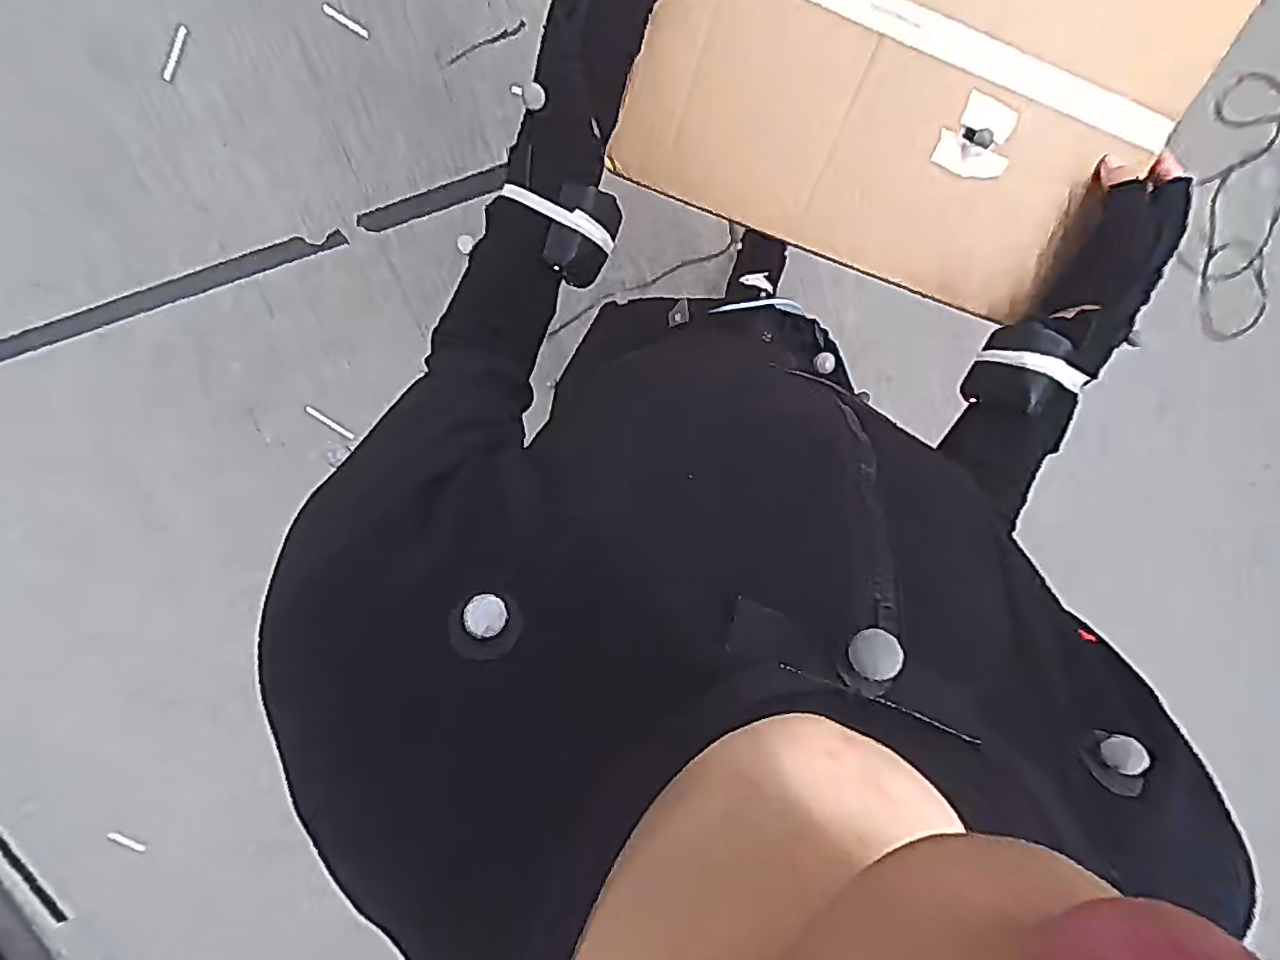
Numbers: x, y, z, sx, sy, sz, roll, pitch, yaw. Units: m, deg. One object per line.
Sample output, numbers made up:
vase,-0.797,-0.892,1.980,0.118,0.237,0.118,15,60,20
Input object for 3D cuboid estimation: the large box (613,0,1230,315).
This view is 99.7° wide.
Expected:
large box,0.210,-0.403,0.533,0.408,0.320,0.320,17,119,-9
